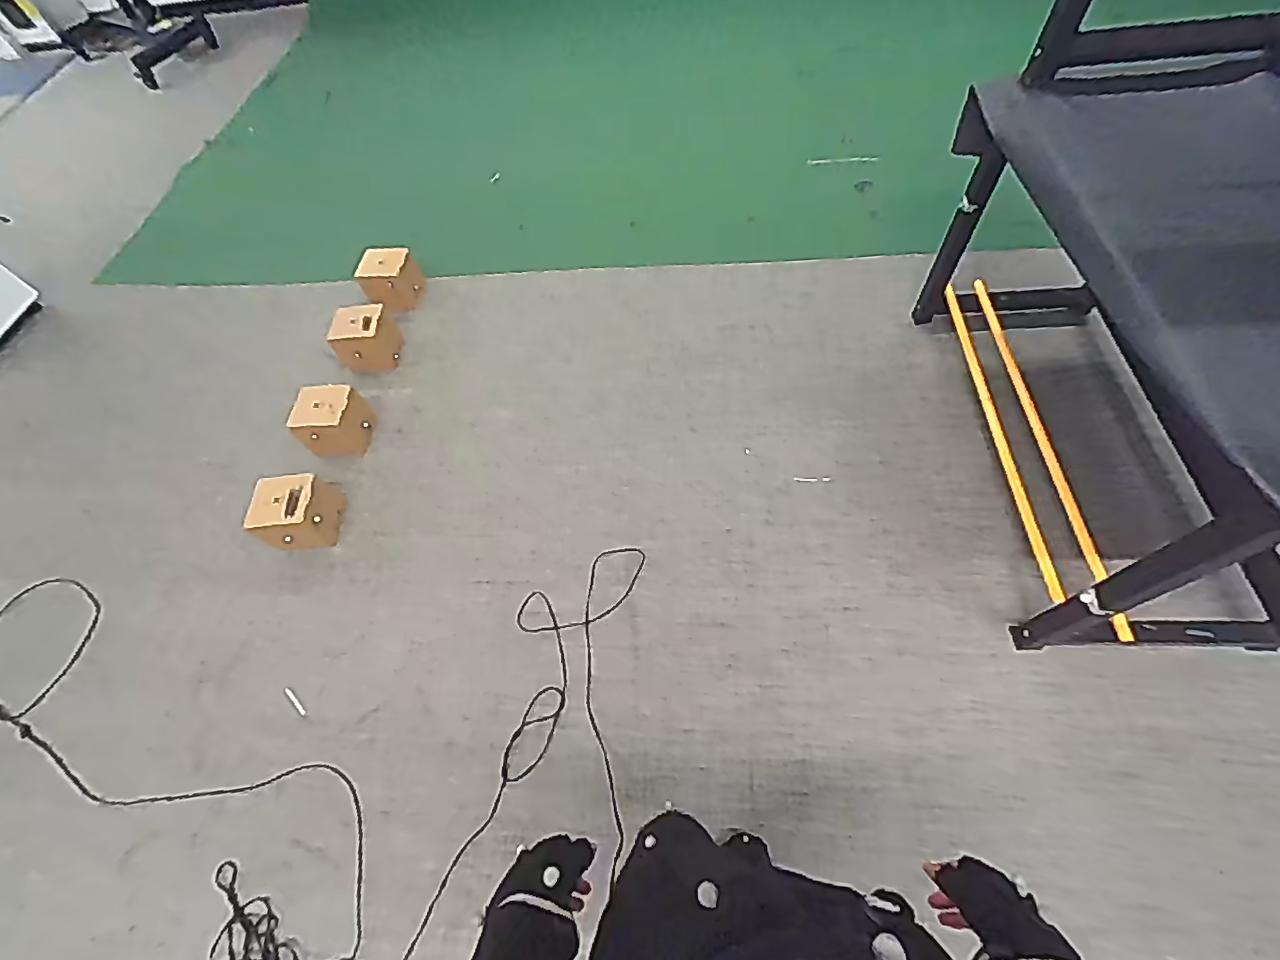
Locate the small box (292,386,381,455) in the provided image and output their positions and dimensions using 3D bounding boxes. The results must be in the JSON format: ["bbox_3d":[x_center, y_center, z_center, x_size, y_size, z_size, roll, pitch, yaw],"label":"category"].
[{"bbox_3d":[-1.007,-0.195,1.807,0.179,0.176,0.168,-1,60,4],"label":"small box"}]

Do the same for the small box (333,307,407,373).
[{"bbox_3d":[-0.990,-0.515,2.001,0.179,0.176,0.168,-4,58,4],"label":"small box"}]

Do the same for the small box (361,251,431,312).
[{"bbox_3d":[-0.974,-0.791,2.169,0.179,0.176,0.168,1,60,6],"label":"small box"}]
